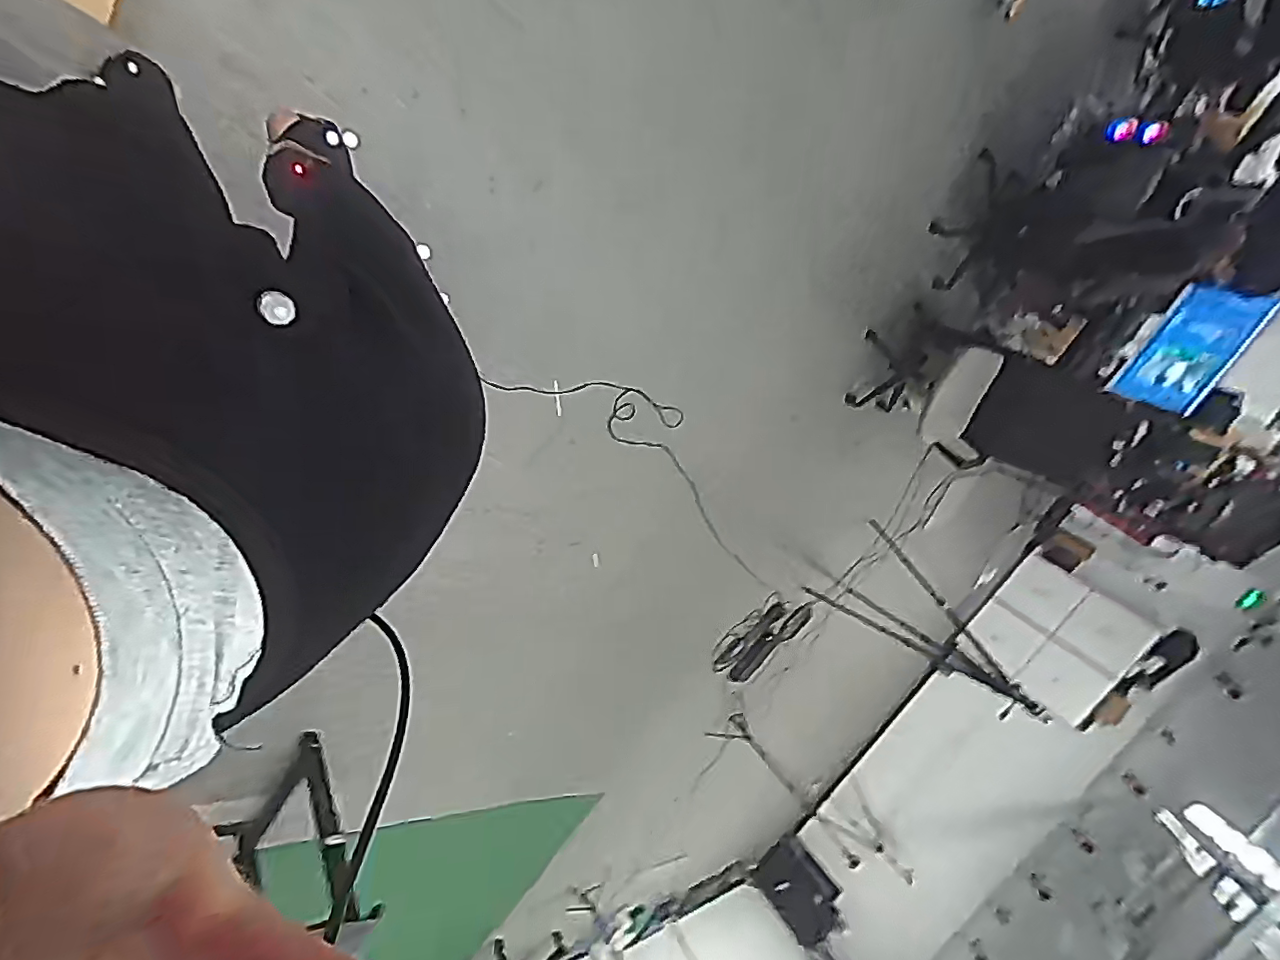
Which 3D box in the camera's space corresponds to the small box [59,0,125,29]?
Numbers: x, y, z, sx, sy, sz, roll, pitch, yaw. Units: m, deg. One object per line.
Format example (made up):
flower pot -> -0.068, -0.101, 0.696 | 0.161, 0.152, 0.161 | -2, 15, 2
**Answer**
small box -> -0.891, -0.842, 0.826 | 0.168, 0.176, 0.179 | 24, 104, -47
